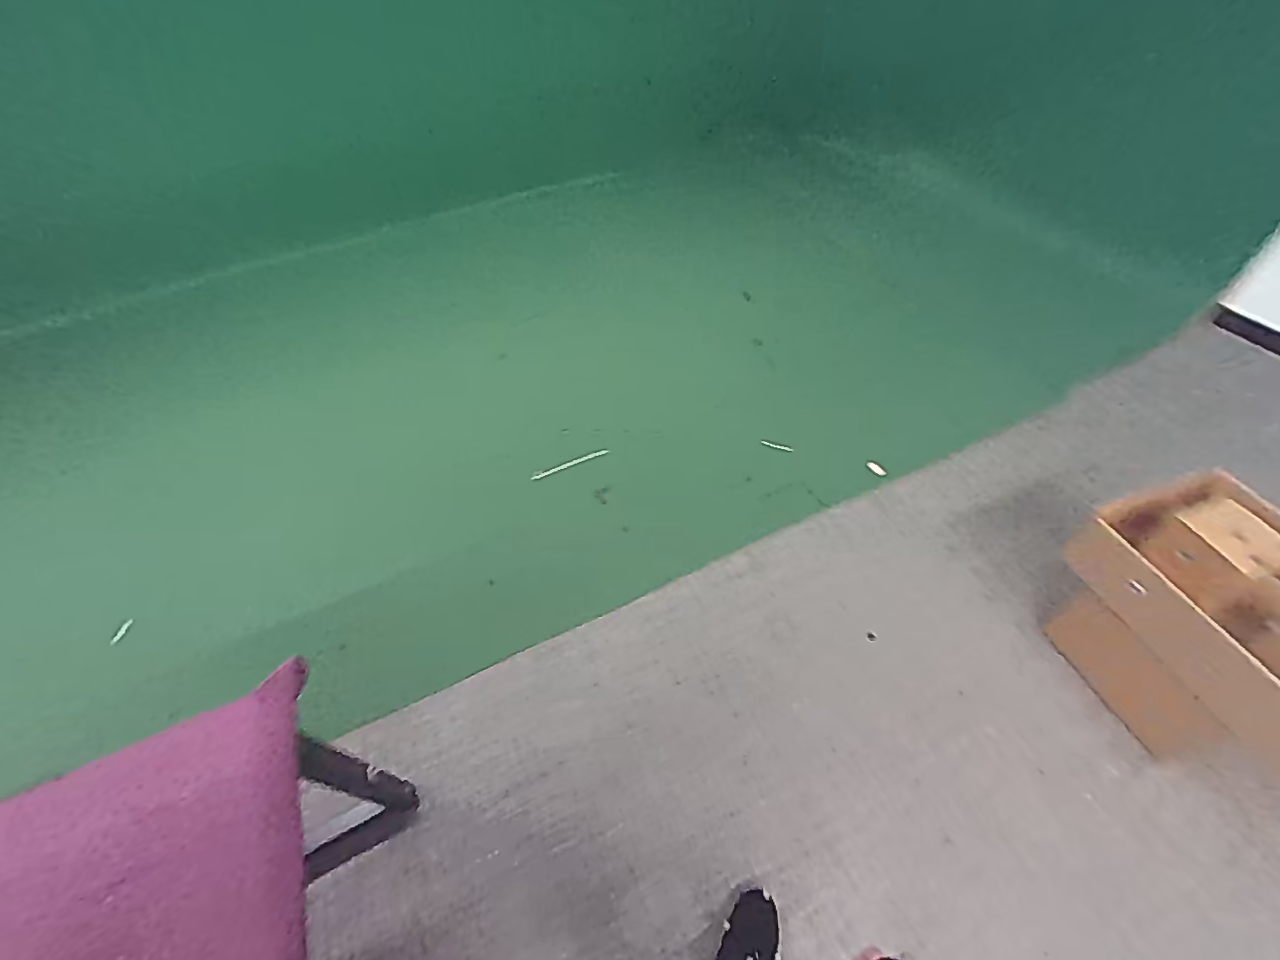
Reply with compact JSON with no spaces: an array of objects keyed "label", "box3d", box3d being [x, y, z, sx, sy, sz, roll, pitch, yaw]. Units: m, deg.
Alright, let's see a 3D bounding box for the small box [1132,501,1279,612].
[{"label":"small box","box3d":[1.345,0.183,1.280,0.168,0.176,0.179,-16,50,-9]}]
